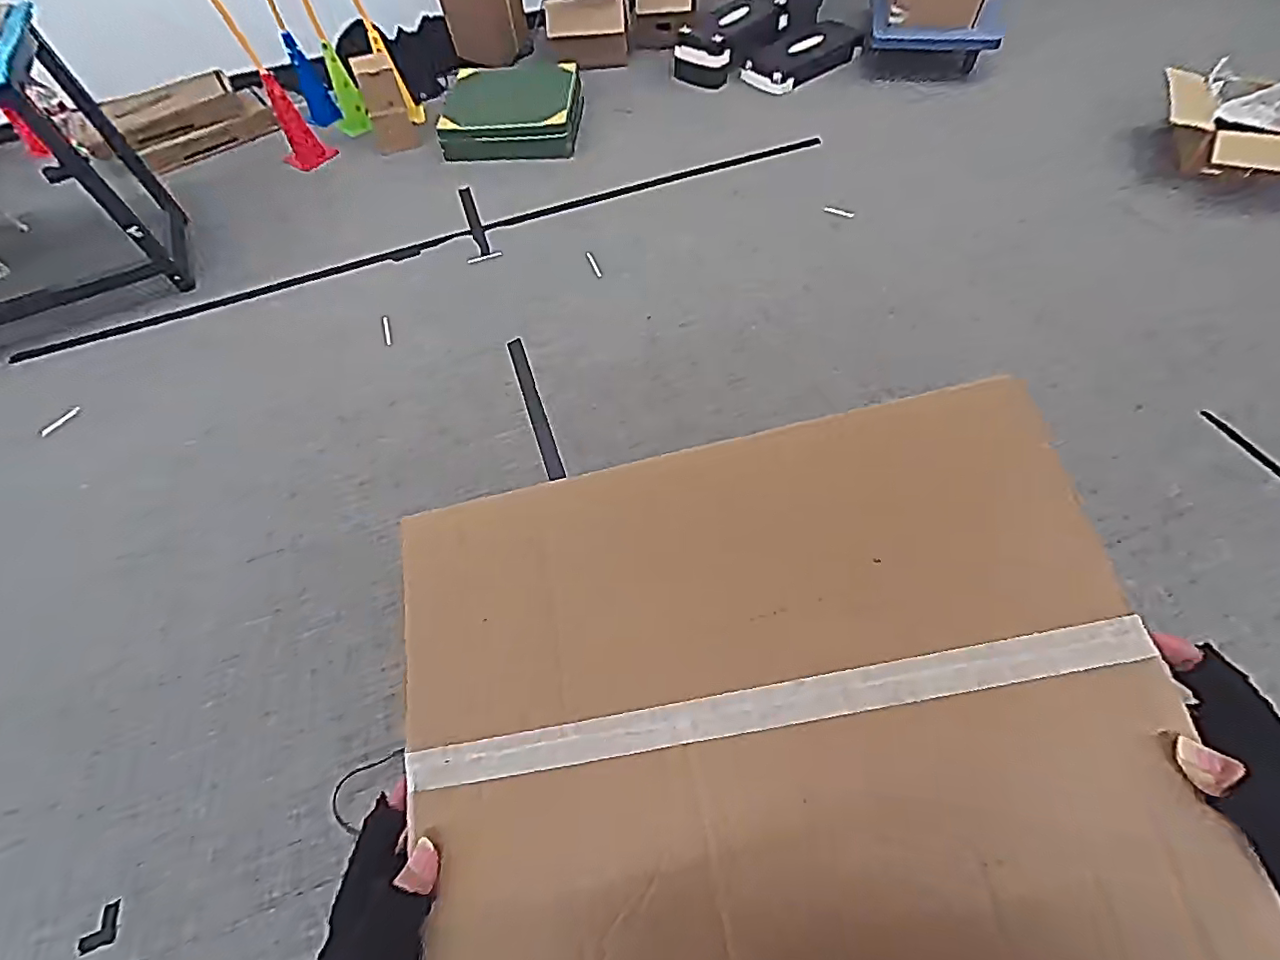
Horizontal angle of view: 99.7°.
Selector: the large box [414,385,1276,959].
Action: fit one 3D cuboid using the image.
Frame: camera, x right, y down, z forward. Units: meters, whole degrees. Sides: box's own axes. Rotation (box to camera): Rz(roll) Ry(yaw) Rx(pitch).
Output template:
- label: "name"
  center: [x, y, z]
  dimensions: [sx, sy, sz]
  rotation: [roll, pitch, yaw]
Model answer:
- label: "large box"
  center: [0.090, 0.172, 0.445]
  dimensions: [0.408, 0.320, 0.320]
  rotation: [-14, 69, 6]
